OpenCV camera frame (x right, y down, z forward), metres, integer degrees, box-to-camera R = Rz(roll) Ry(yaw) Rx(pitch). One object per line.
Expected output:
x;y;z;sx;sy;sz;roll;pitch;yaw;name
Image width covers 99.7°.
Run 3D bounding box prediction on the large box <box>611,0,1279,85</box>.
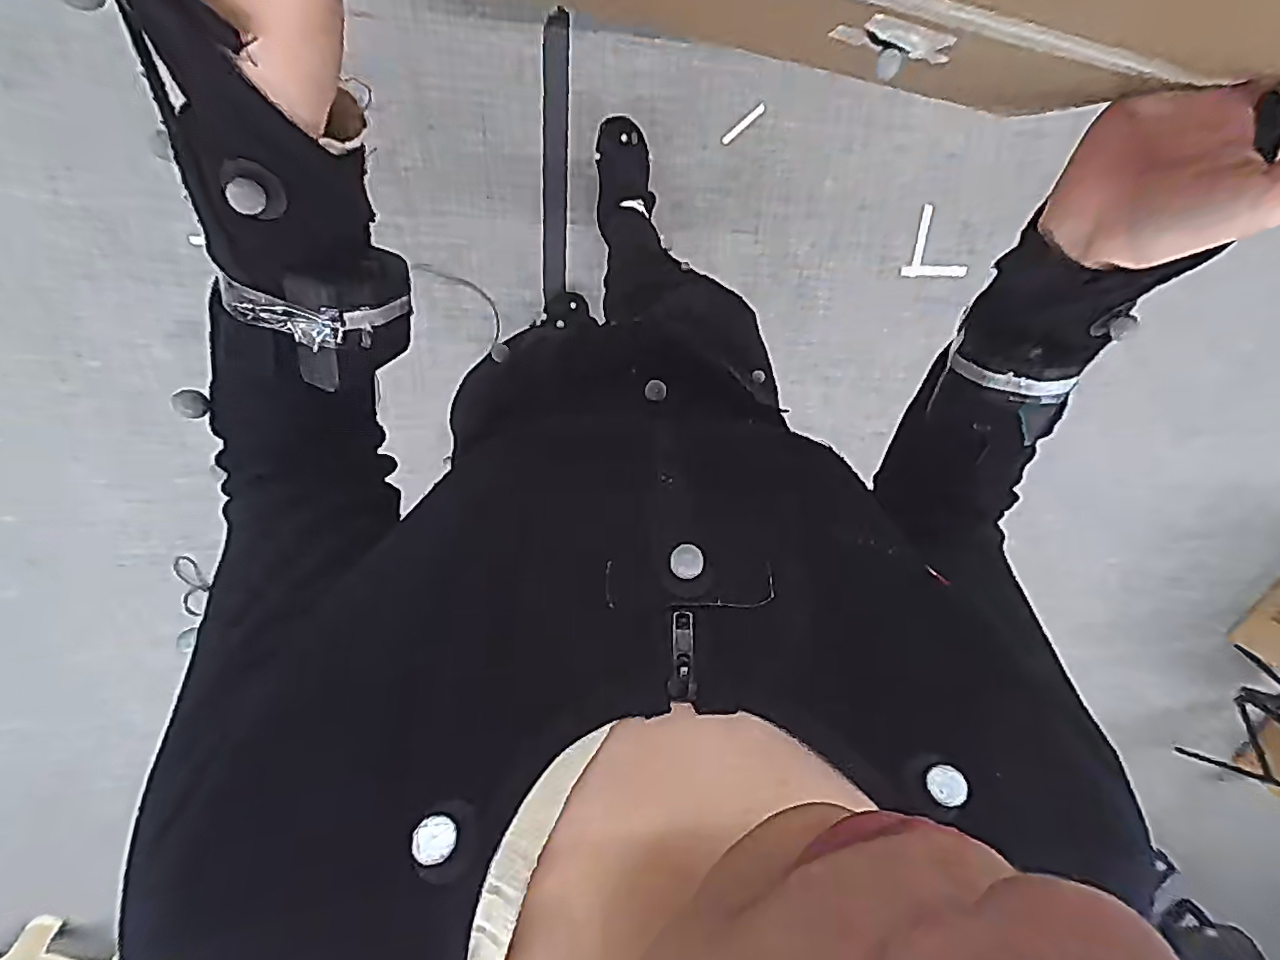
0.069;-0.329;0.116;0.408;0.320;0.320;5;120;-8;large box
